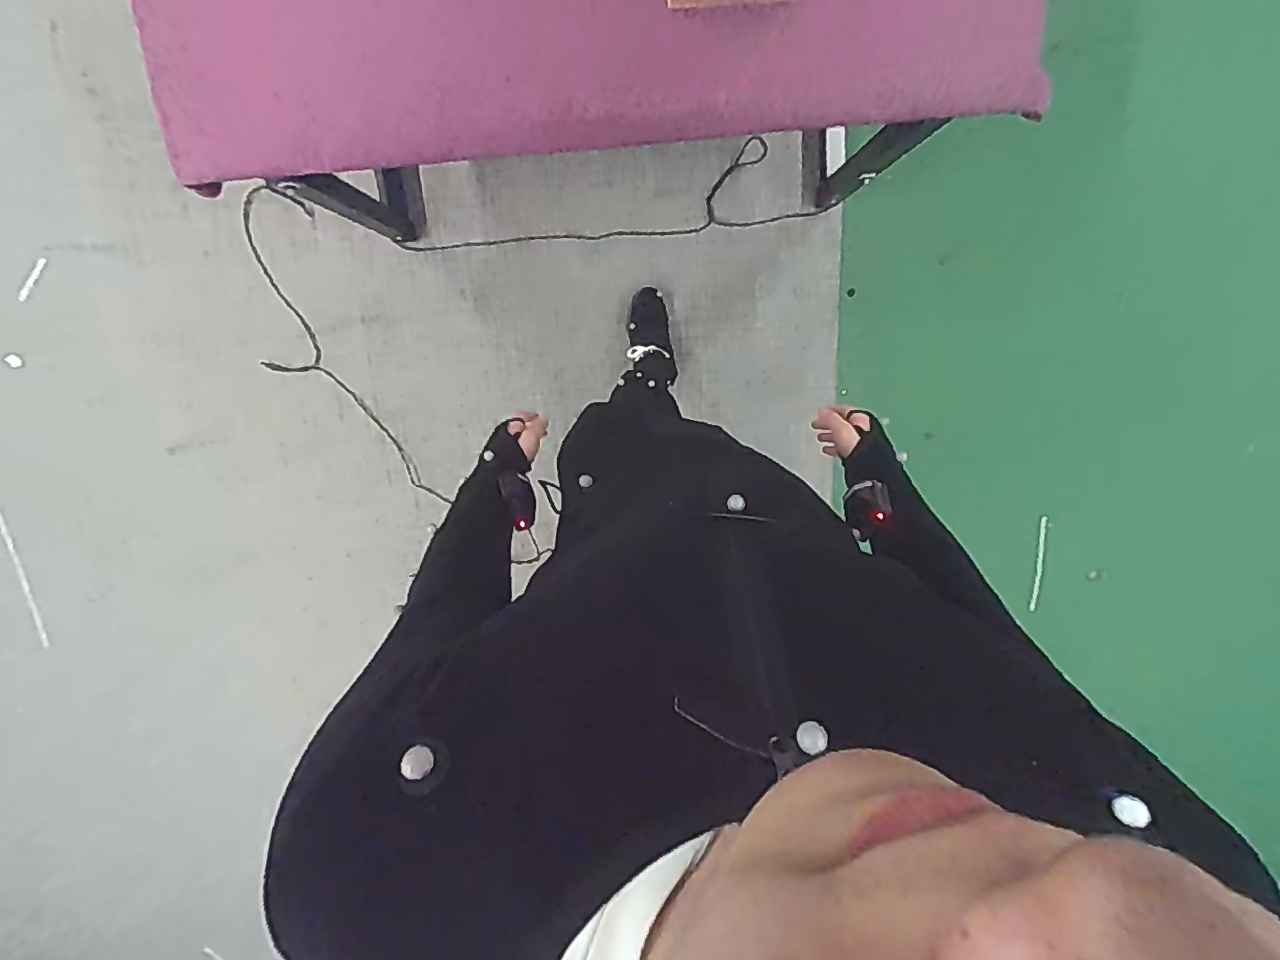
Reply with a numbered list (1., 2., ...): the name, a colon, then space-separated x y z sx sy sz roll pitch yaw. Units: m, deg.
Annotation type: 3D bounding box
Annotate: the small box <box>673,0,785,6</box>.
1. small box: 0.121 -0.691 0.623 0.179 0.176 0.168 -2 104 0
